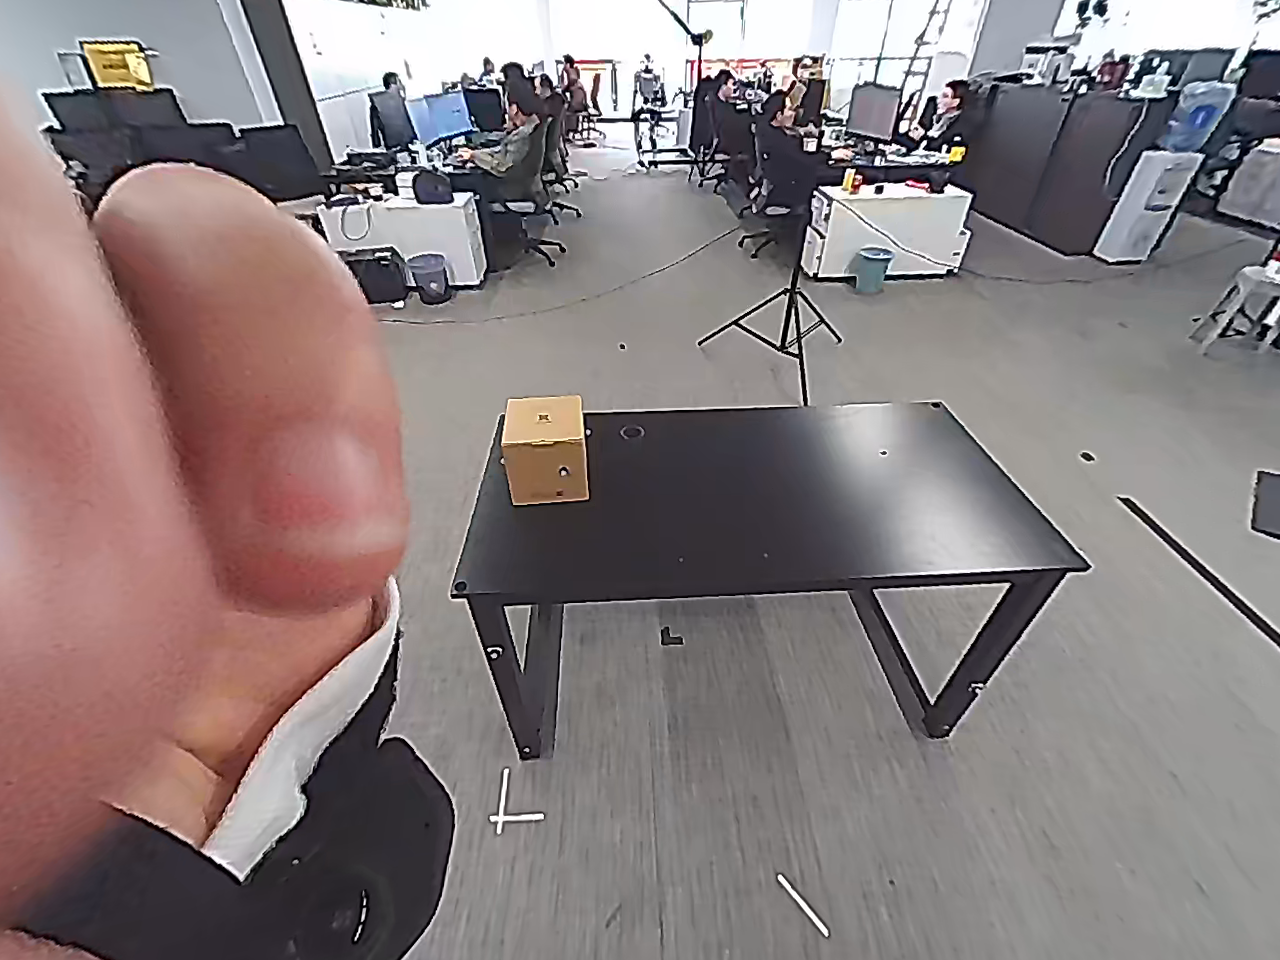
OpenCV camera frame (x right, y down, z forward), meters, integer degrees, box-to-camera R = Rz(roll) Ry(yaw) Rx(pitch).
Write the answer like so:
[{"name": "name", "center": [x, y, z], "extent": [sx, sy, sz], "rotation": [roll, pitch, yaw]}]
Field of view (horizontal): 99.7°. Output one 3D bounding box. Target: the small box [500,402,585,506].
[{"name": "small box", "center": [-0.211, -0.055, 1.204], "extent": [0.168, 0.176, 0.179], "rotation": [-4, 38, -6]}]
